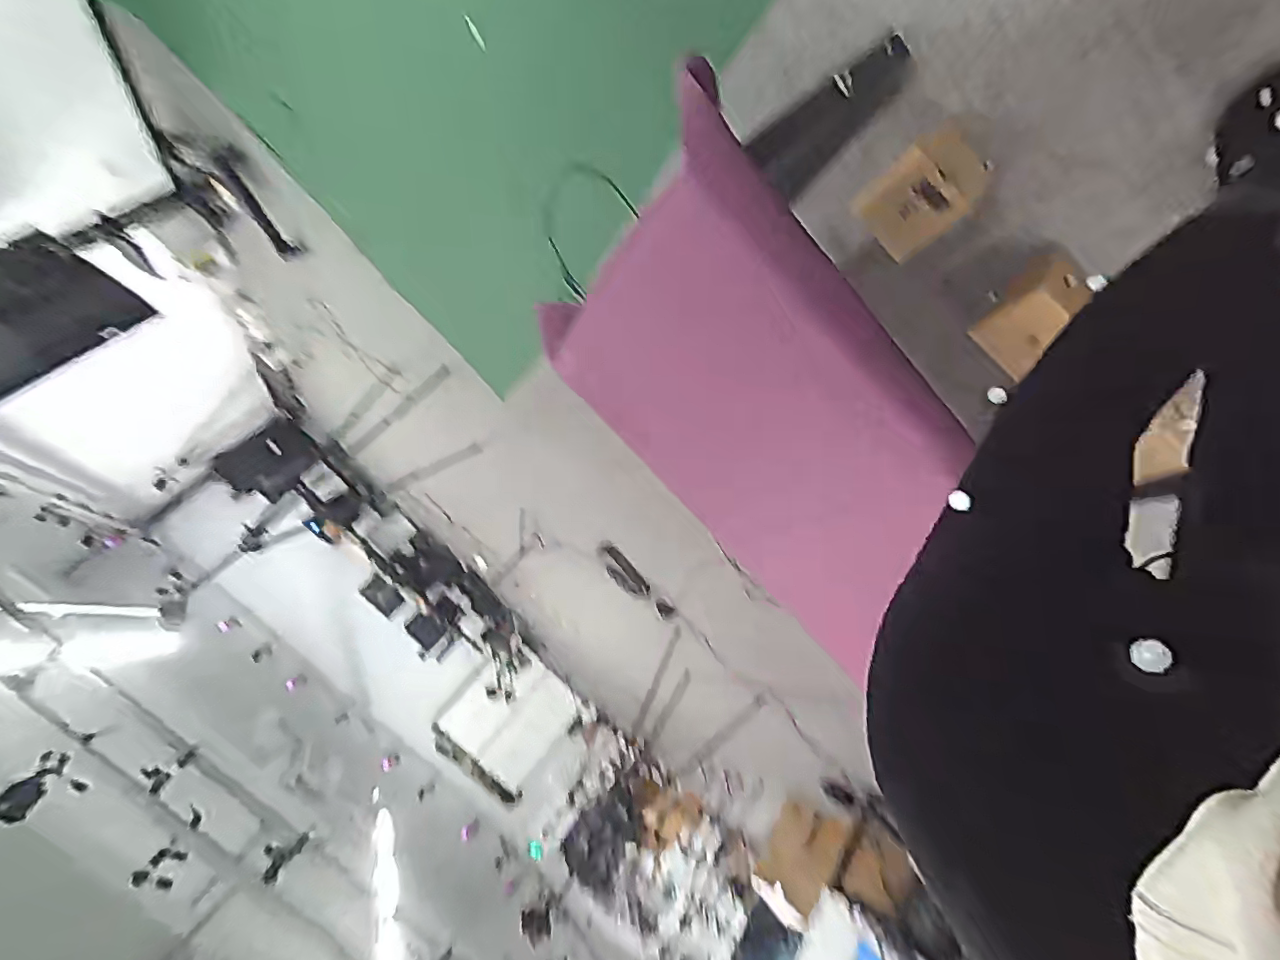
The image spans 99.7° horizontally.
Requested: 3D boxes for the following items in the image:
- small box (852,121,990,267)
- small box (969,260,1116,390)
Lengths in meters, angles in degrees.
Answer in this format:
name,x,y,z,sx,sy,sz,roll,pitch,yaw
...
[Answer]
name,x,y,z,sx,sy,sz,roll,pitch,yaw
small box,0.582,-0.587,1.112,0.168,0.176,0.179,46,153,-5
small box,0.845,-0.331,1.136,0.179,0.176,0.168,43,153,-2
